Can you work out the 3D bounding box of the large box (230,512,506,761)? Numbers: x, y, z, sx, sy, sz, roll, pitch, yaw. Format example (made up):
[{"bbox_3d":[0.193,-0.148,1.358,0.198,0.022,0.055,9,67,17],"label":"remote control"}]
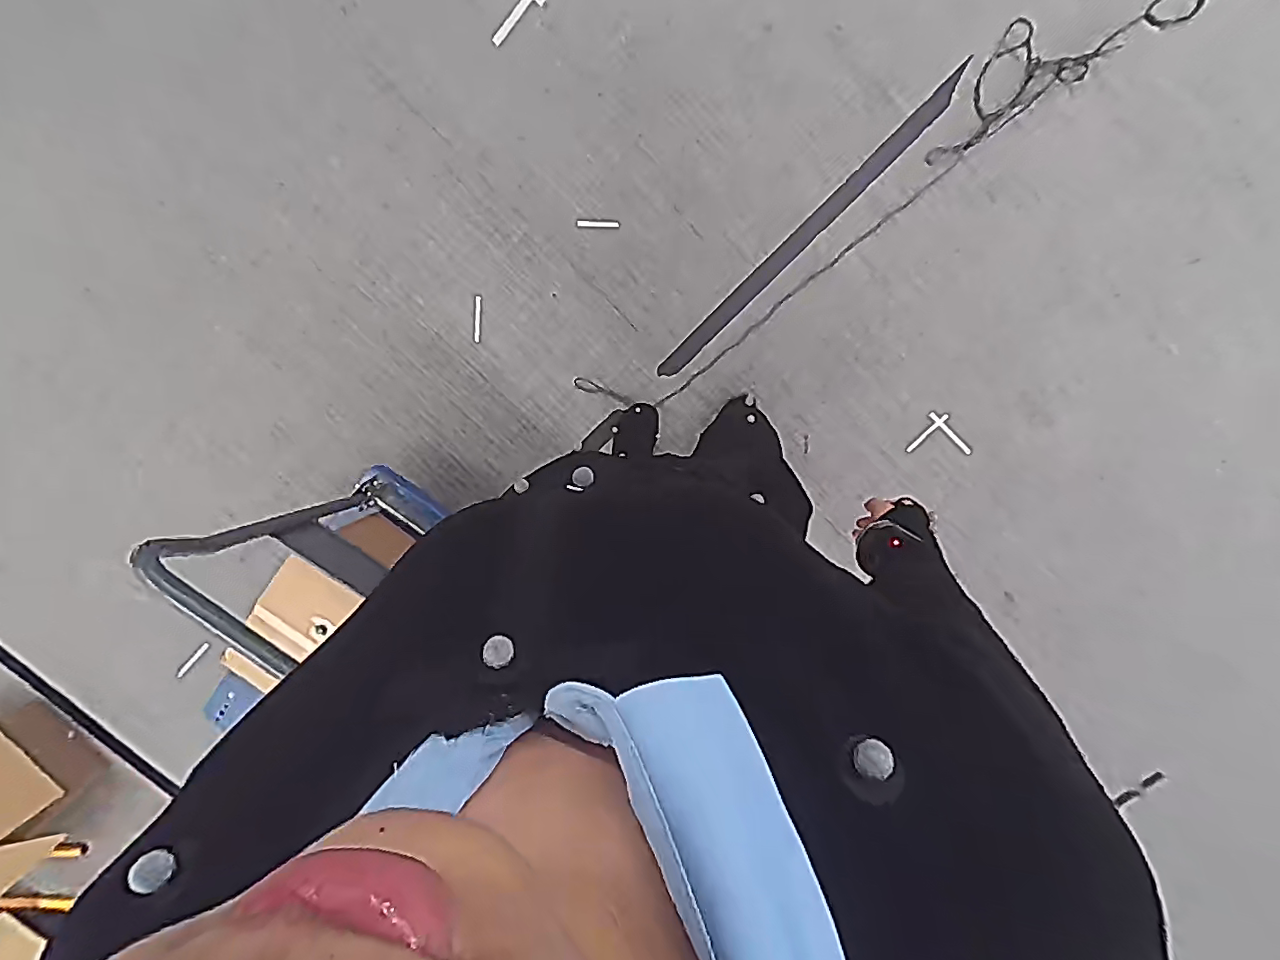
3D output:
[{"bbox_3d":[-0.590,0.335,1.248,0.408,0.320,0.320,38,98,-3],"label":"large box"}]
